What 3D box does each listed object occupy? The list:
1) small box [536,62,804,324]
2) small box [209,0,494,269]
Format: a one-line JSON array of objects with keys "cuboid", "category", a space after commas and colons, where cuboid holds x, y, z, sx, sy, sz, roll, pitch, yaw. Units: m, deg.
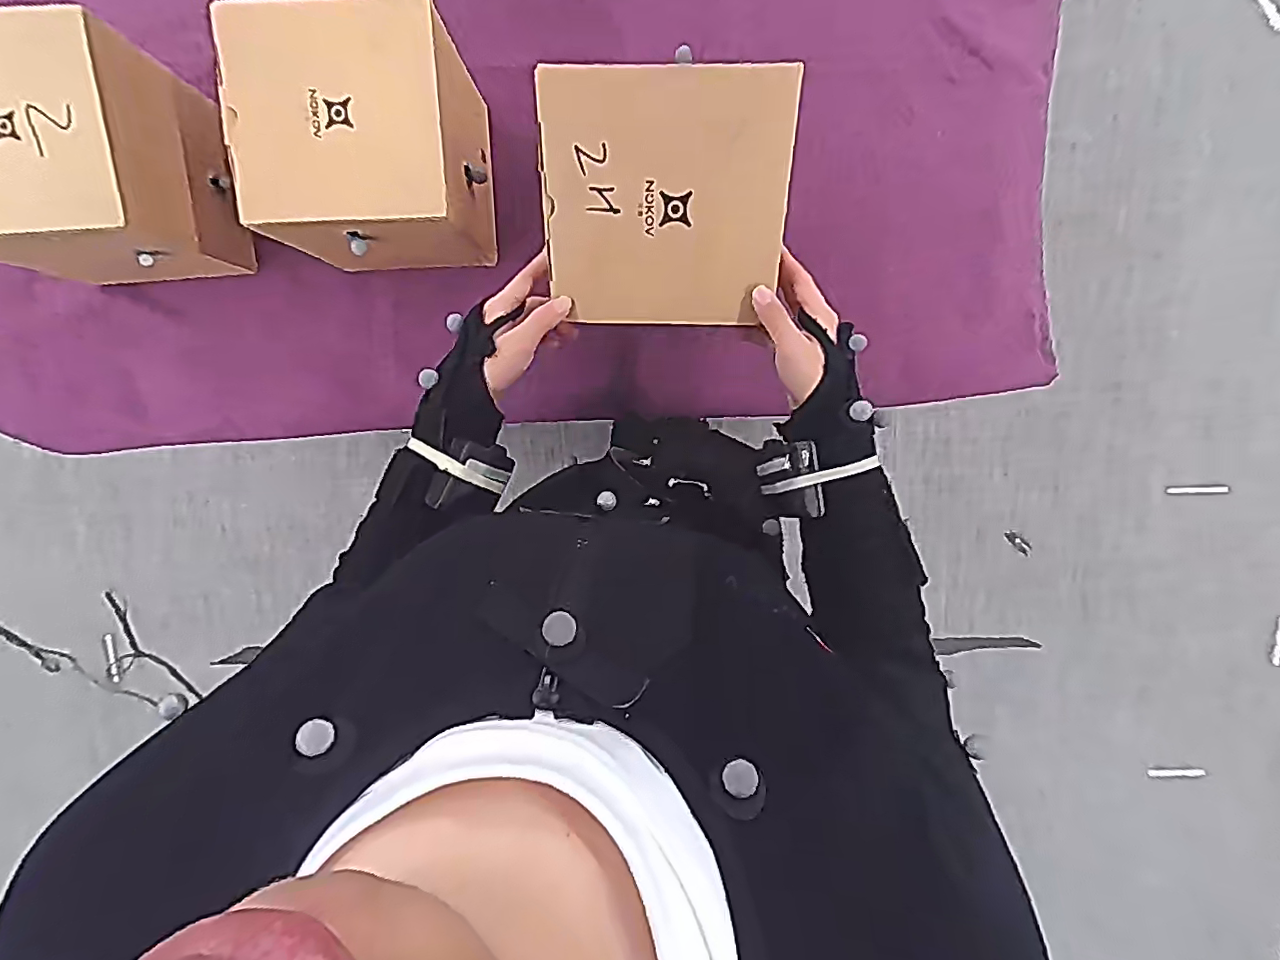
[{"cuboid": [0.022, -0.234, 0.453, 0.179, 0.176, 0.168, 2, 119, 3], "category": "small box"}, {"cuboid": [-0.244, -0.304, 0.509, 0.179, 0.176, 0.168, -2, 99, 2], "category": "small box"}]
